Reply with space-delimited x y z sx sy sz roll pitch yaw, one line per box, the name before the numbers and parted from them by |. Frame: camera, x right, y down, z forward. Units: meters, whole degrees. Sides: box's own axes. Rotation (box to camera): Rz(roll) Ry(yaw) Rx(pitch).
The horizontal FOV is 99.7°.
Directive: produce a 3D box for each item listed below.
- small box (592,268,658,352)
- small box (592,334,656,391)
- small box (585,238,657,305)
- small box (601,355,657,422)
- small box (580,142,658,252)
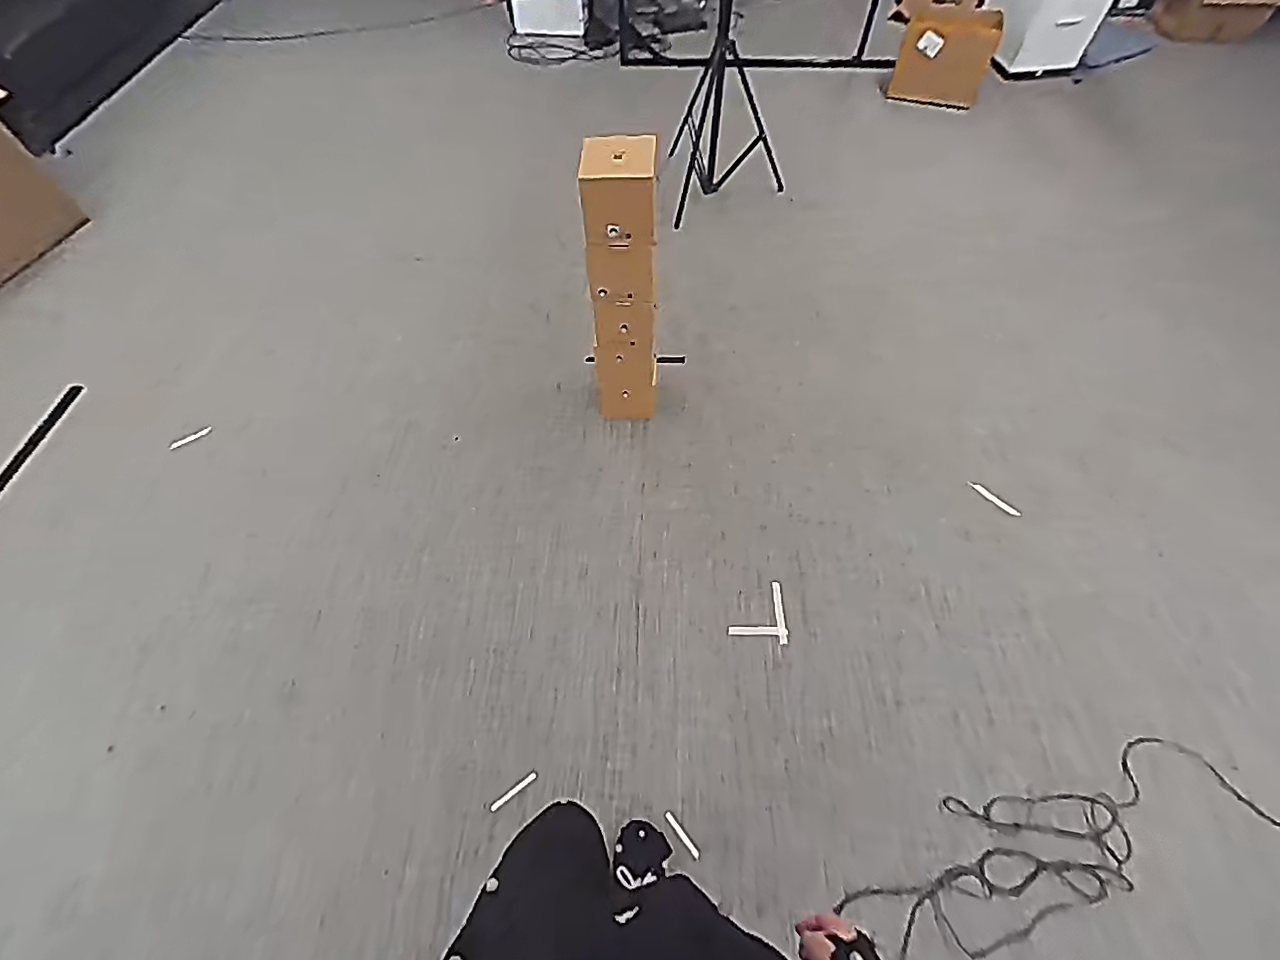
small box | -0.037 -0.482 1.538 0.168 0.176 0.179 3 59 3
small box | -0.043 -0.393 1.675 0.179 0.176 0.168 4 59 4
small box | -0.042 -0.572 1.400 0.168 0.176 0.179 2 57 3
small box | -0.034 -0.308 1.815 0.179 0.176 0.168 2 58 2
small box | -0.042 -0.659 1.263 0.168 0.176 0.179 0 59 3
